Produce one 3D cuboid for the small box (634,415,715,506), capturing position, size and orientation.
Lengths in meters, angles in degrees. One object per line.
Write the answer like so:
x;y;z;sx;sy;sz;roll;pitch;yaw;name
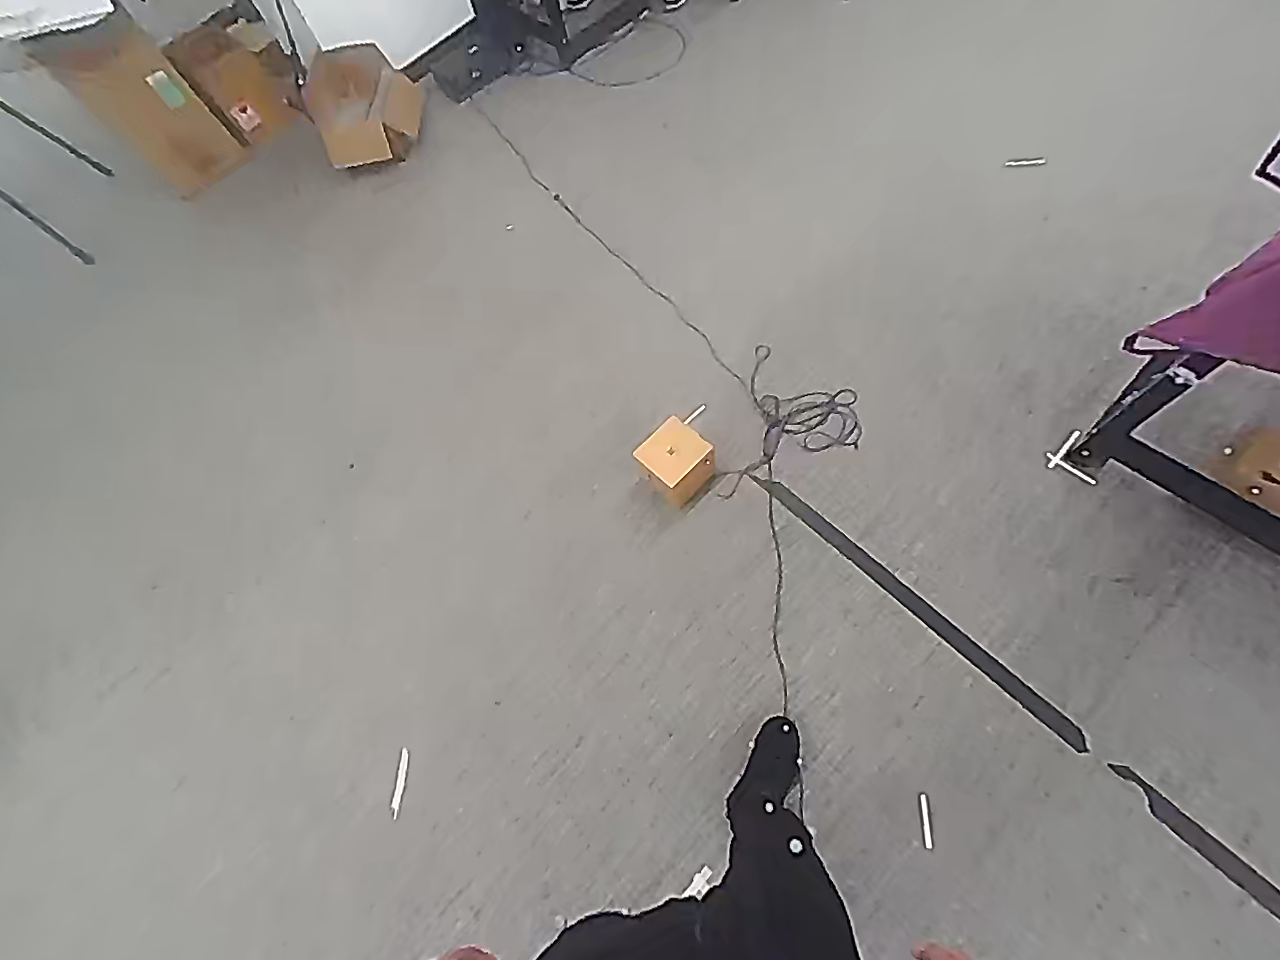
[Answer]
0.109;-0.051;1.604;0.179;0.176;0.168;-44;66;-11;small box
